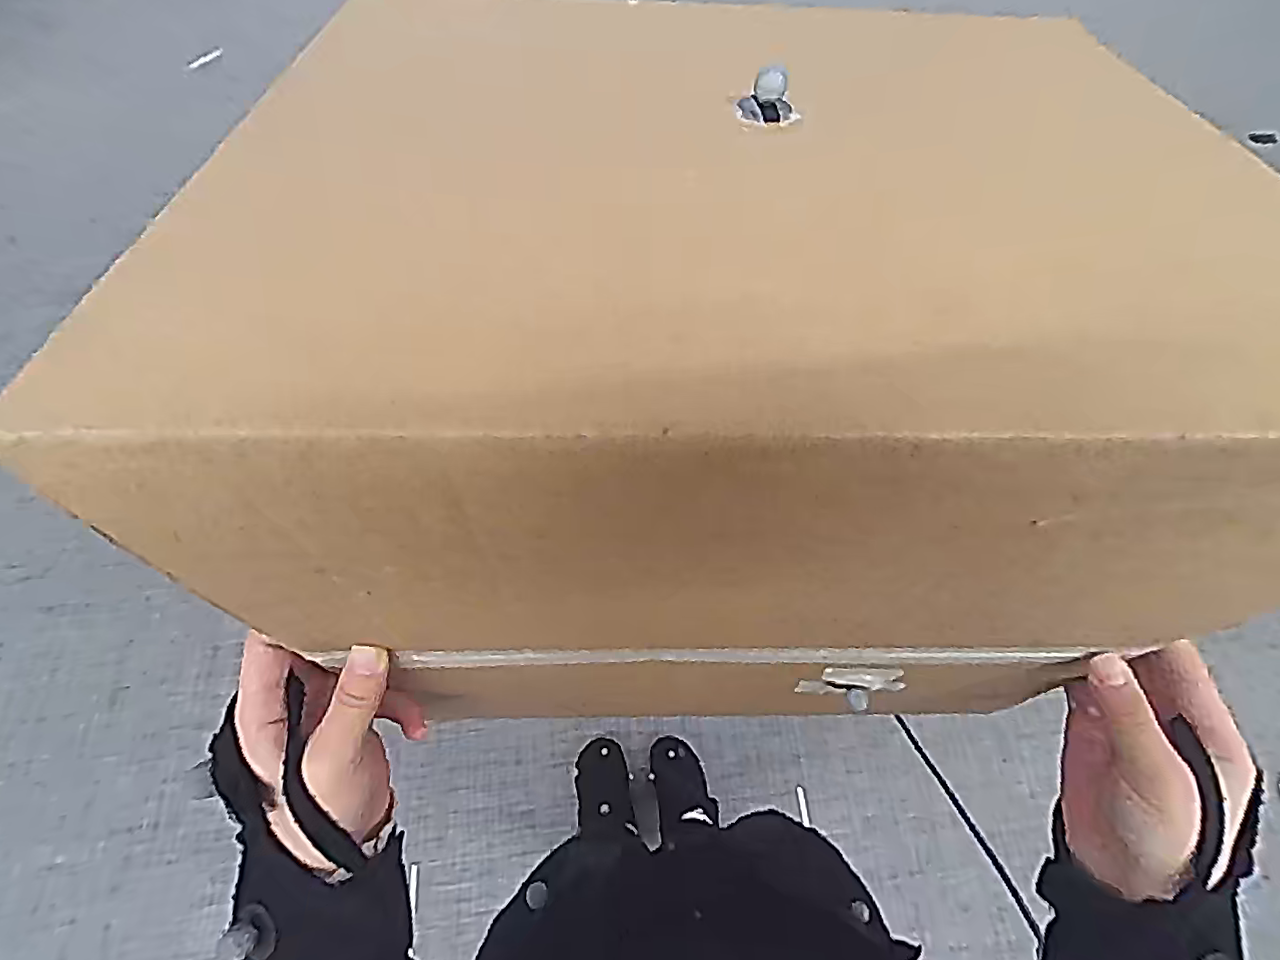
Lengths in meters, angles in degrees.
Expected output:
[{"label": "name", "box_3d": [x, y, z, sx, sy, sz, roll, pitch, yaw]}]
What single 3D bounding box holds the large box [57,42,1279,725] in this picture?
[{"label": "large box", "box_3d": [0.037, -0.044, 0.348, 0.408, 0.320, 0.320, -1, 56, -2]}]
